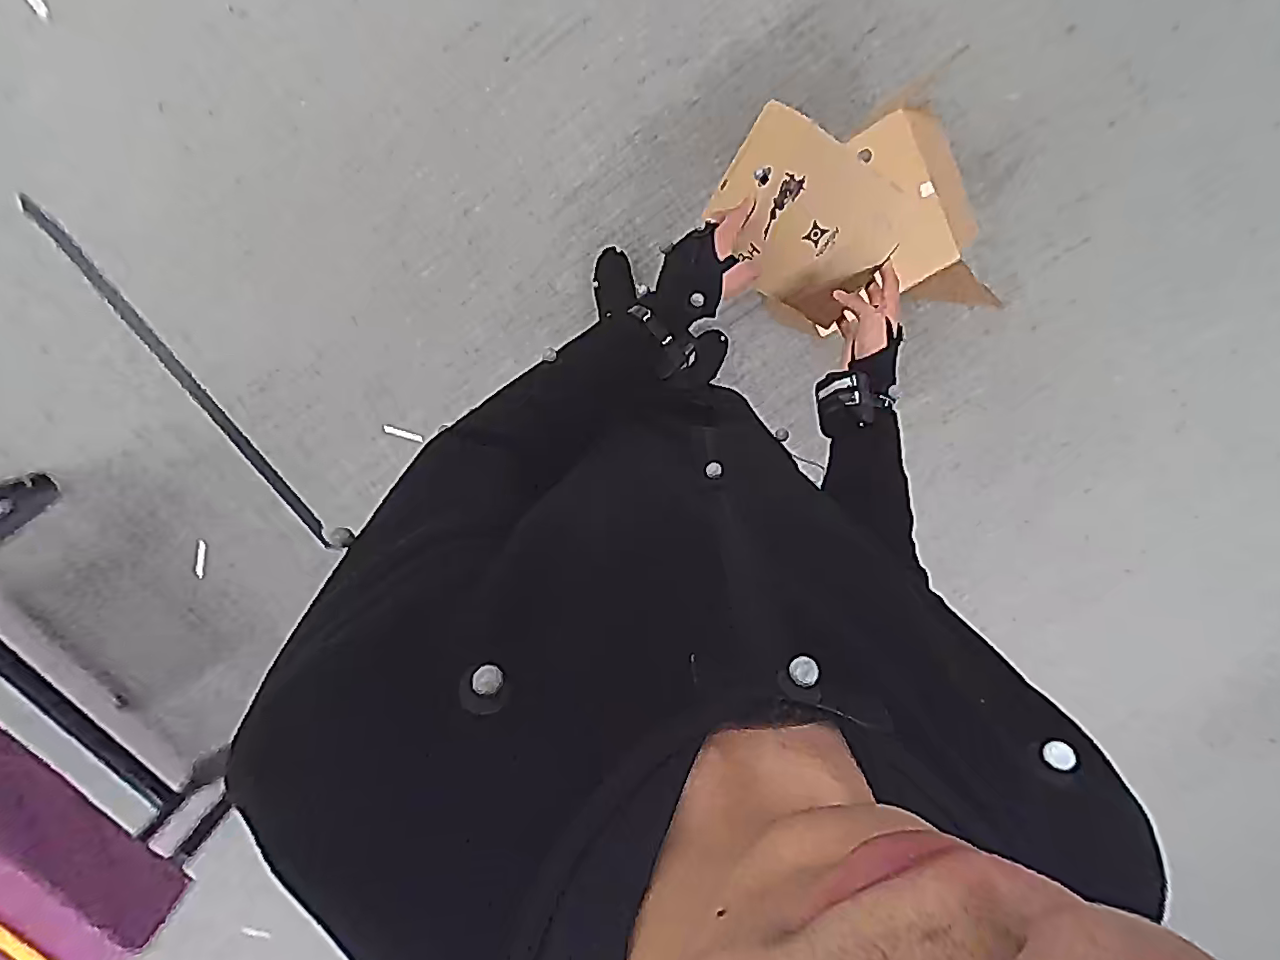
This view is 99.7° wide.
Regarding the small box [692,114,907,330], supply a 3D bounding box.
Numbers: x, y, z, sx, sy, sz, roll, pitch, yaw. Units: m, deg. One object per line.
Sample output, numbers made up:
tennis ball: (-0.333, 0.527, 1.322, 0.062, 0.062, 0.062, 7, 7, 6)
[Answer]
small box: (0.188, -0.330, 0.687, 0.179, 0.176, 0.168, 20, 127, -22)
